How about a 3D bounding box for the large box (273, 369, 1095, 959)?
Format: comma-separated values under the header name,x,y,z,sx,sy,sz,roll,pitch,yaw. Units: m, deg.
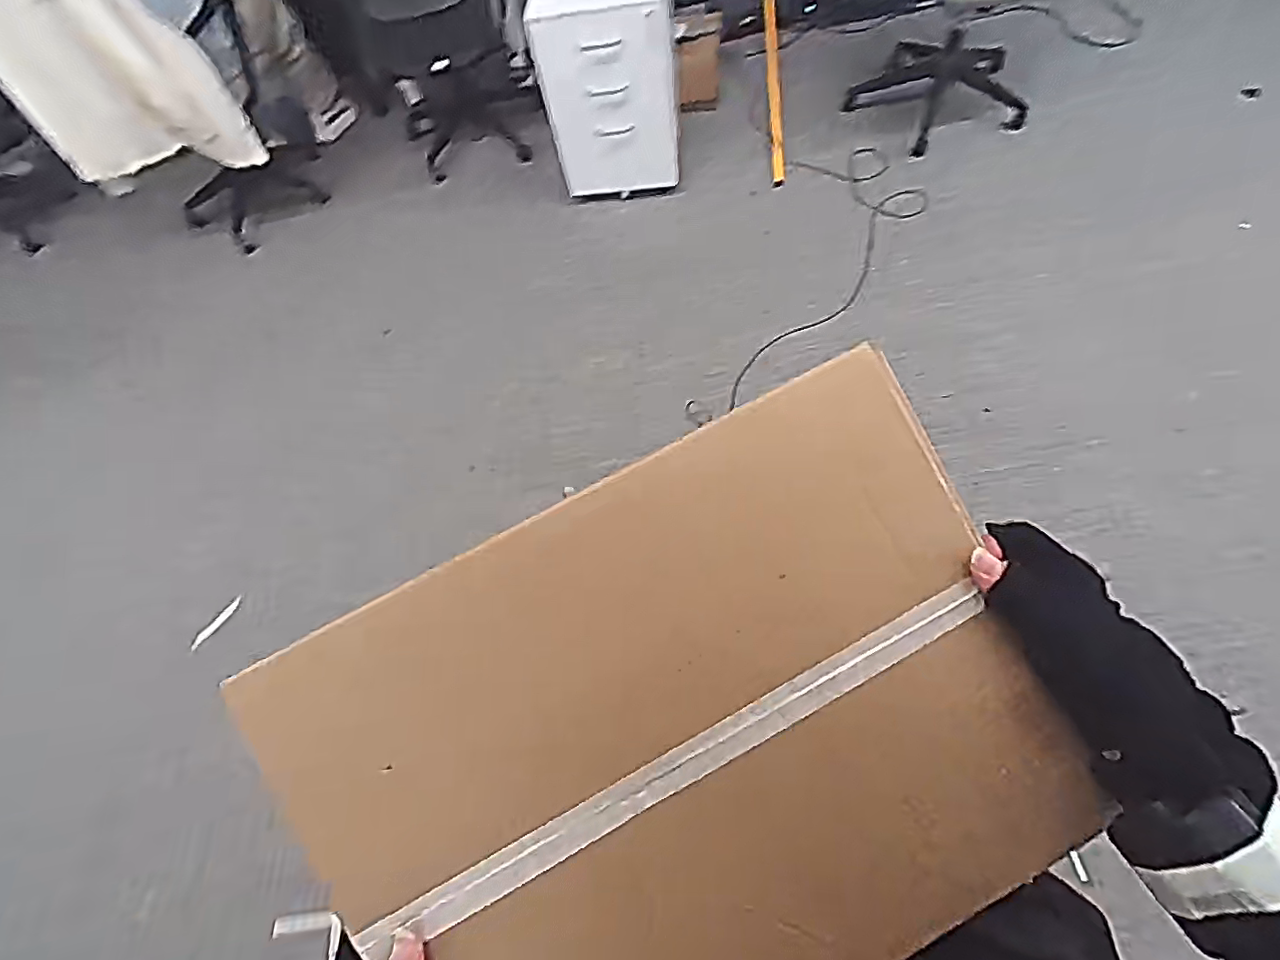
name,x,y,z,sx,sy,sz,roll,pitch,yaw
large box,0.029,0.160,0.463,0.408,0.320,0.320,-28,89,-4
